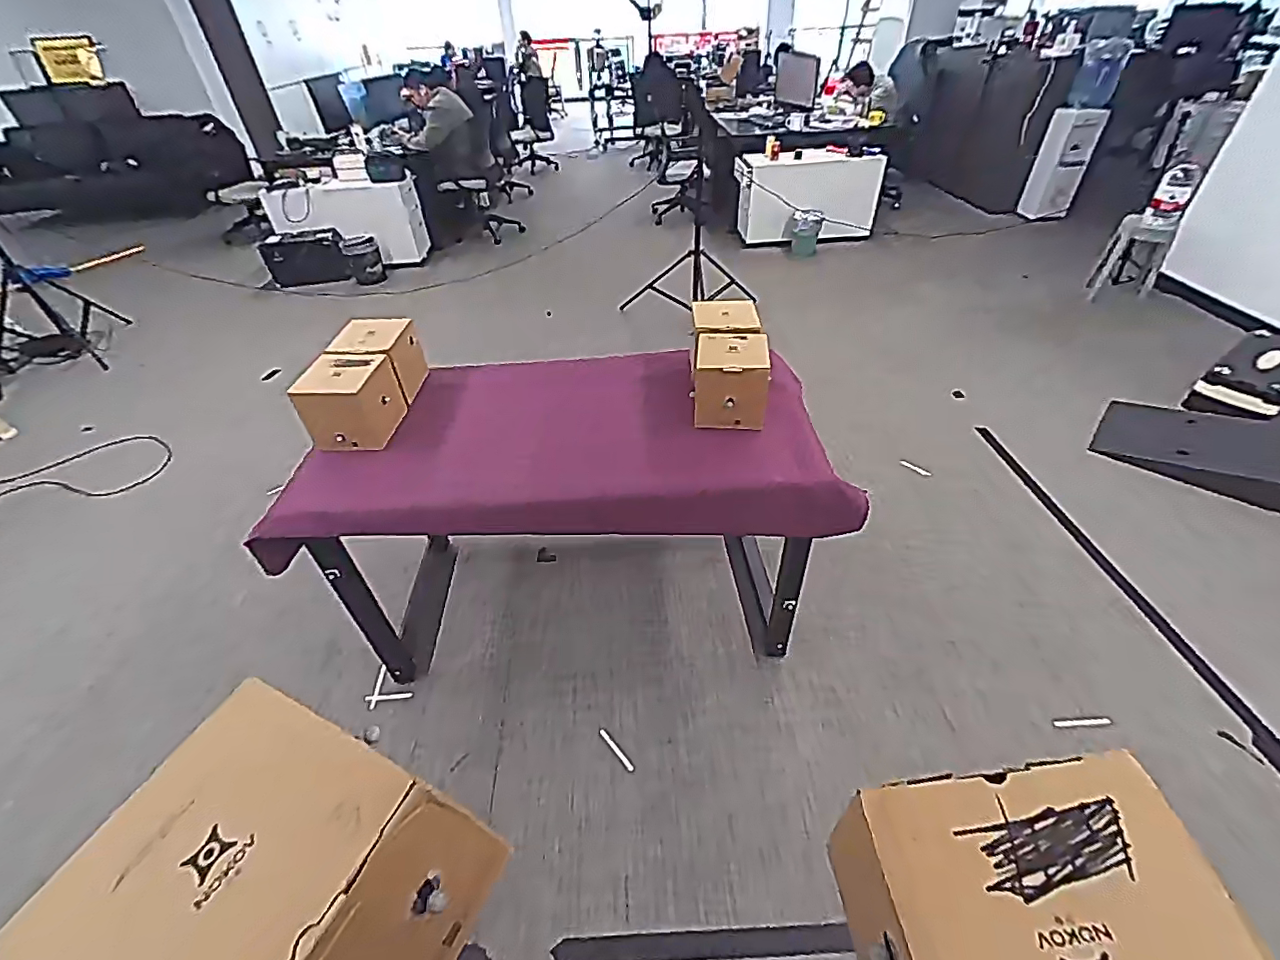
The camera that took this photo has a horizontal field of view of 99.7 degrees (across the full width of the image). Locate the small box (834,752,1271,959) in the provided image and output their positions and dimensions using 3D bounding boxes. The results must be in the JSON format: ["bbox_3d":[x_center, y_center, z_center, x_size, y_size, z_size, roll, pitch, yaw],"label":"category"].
[{"bbox_3d":[0.231,0.292,0.326,0.168,0.176,0.179,-9,47,2],"label":"small box"}]

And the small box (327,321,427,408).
[{"bbox_3d":[-0.694,-0.311,1.454,0.168,0.176,0.179,-1,42,2],"label":"small box"}]

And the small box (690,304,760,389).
[{"bbox_3d":[0.223,-0.363,1.466,0.168,0.176,0.179,0,40,2],"label":"small box"}]

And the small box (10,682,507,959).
[{"bbox_3d":[-0.219,0.272,0.360,0.179,0.176,0.168,12,48,26],"label":"small box"}]
